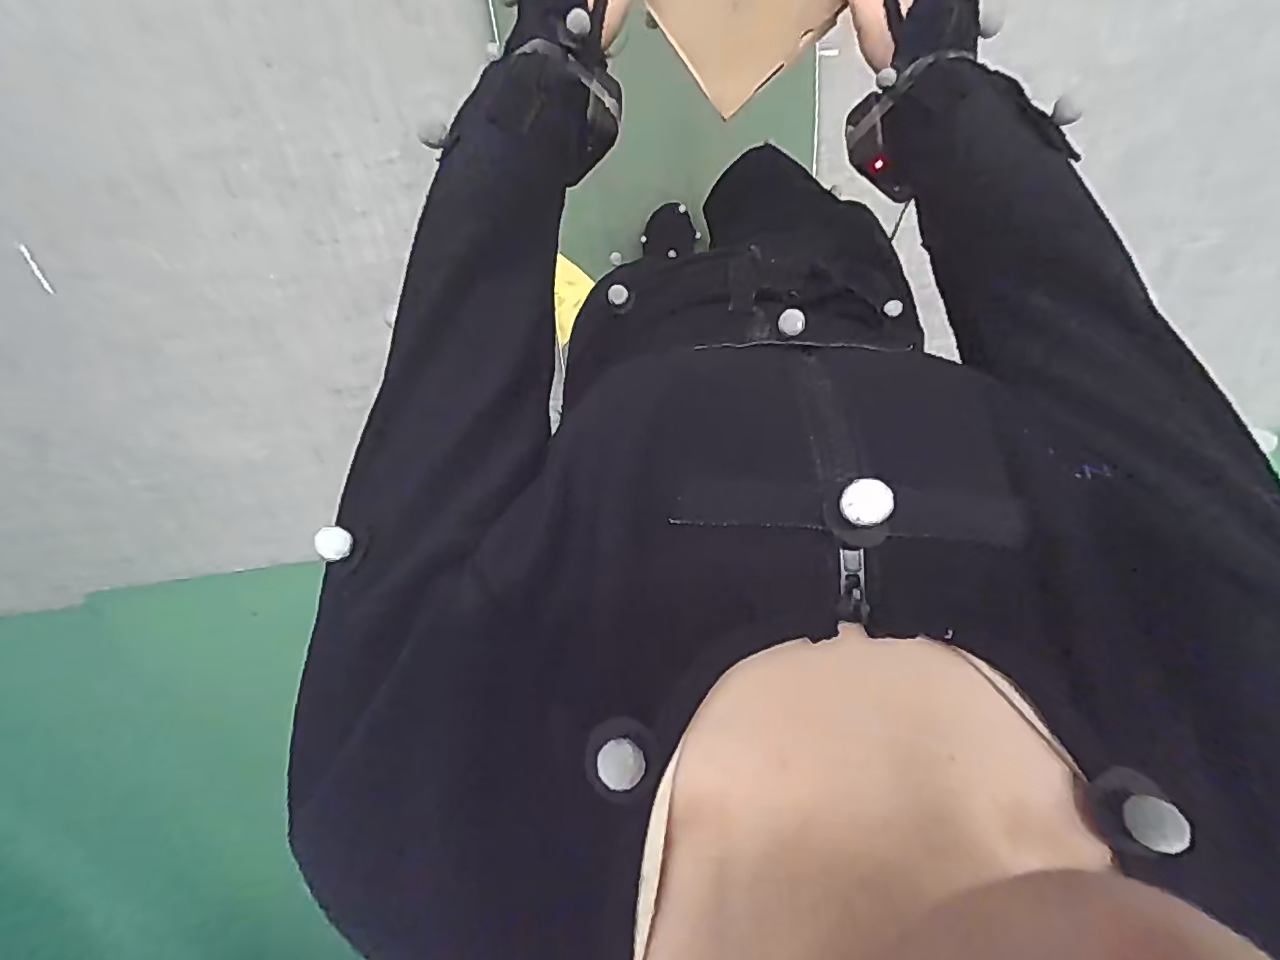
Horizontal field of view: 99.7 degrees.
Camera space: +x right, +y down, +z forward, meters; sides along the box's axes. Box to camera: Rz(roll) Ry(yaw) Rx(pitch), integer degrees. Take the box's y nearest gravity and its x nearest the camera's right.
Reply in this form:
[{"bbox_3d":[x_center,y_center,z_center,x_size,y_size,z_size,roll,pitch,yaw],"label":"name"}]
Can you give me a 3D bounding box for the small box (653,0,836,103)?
[{"bbox_3d":[0.077,-0.462,0.435,0.168,0.176,0.179,-31,128,29],"label":"small box"}]
